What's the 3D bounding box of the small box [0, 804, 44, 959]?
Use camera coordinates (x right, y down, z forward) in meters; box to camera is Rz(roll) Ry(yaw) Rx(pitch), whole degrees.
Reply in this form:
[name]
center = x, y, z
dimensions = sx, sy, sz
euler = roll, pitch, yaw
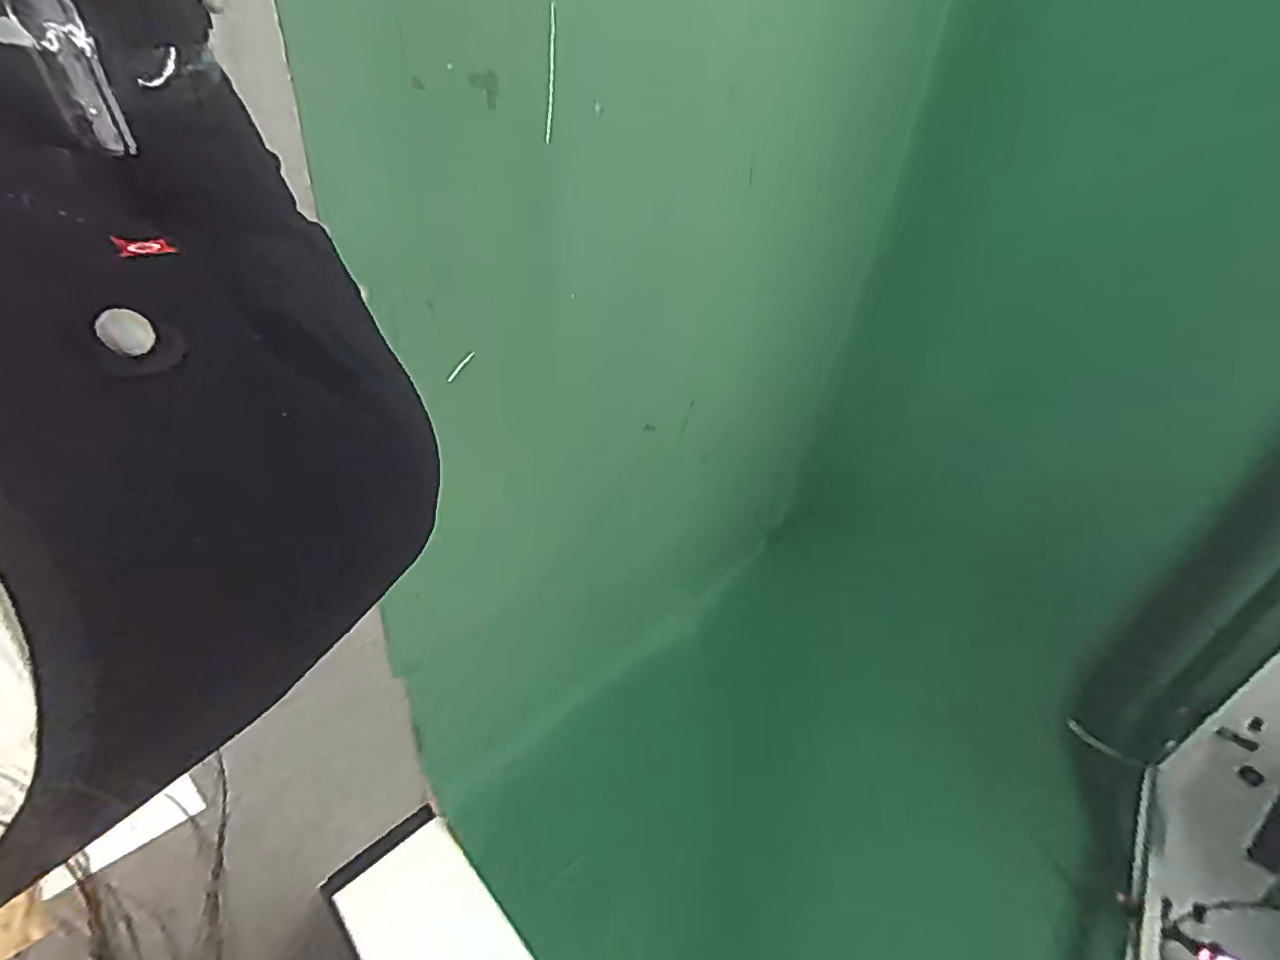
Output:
[small box]
center = -0.885, 0.516, 0.654
dimensions = 0.179, 0.176, 0.168
euler = -22, 131, -42
